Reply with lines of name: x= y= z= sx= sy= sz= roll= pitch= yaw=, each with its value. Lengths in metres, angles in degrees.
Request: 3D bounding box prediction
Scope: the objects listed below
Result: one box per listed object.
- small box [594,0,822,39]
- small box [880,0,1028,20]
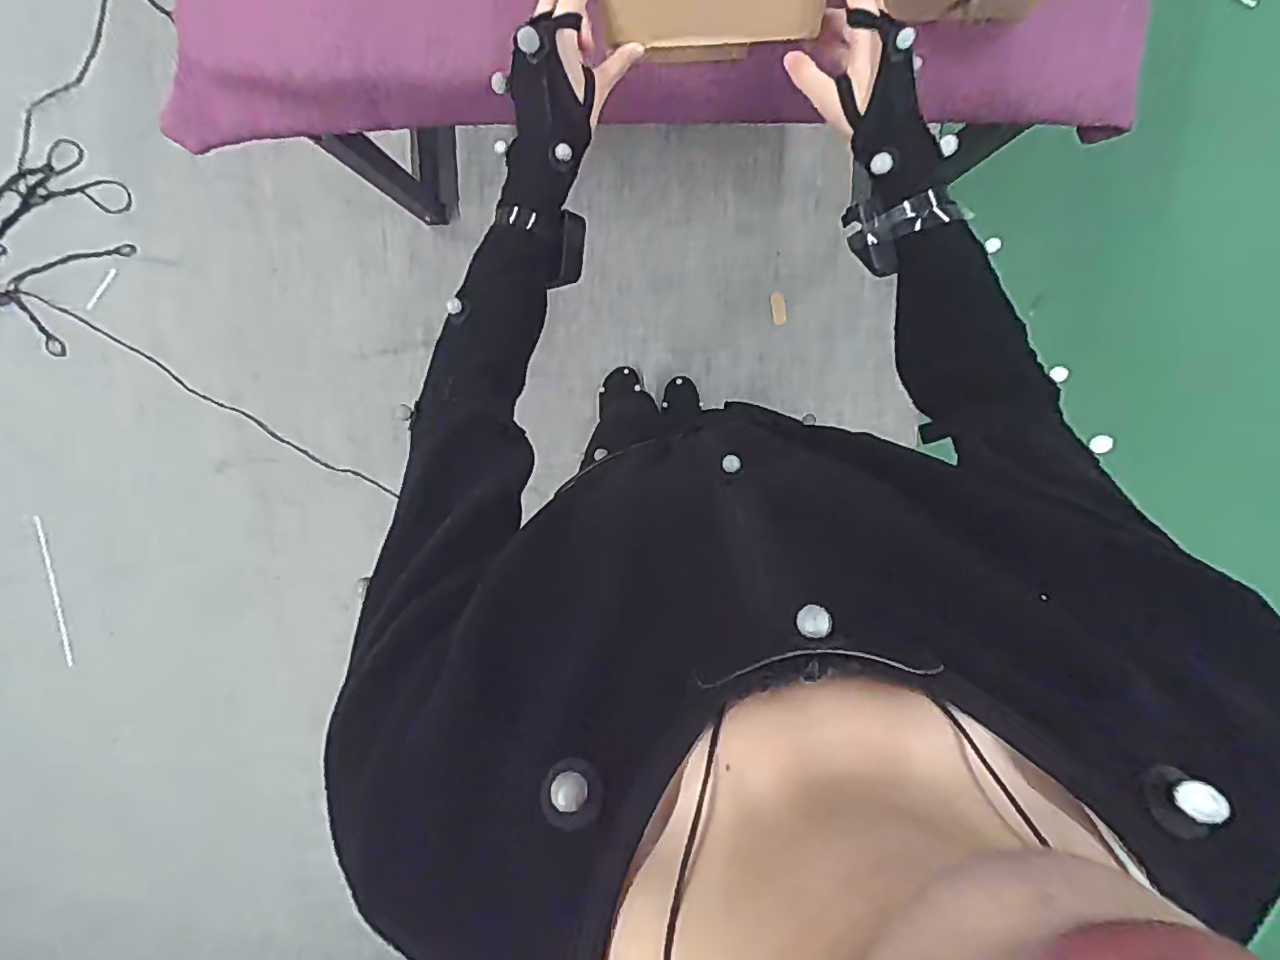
small box: x=0.049 y=-0.462 z=0.391 sx=0.179 sy=0.168 sz=0.176 roll=-1 pitch=63 yaw=3
small box: x=0.378 y=-0.631 z=0.569 sx=0.179 sy=0.176 sz=0.168 roll=0 pitch=97 yaw=2
